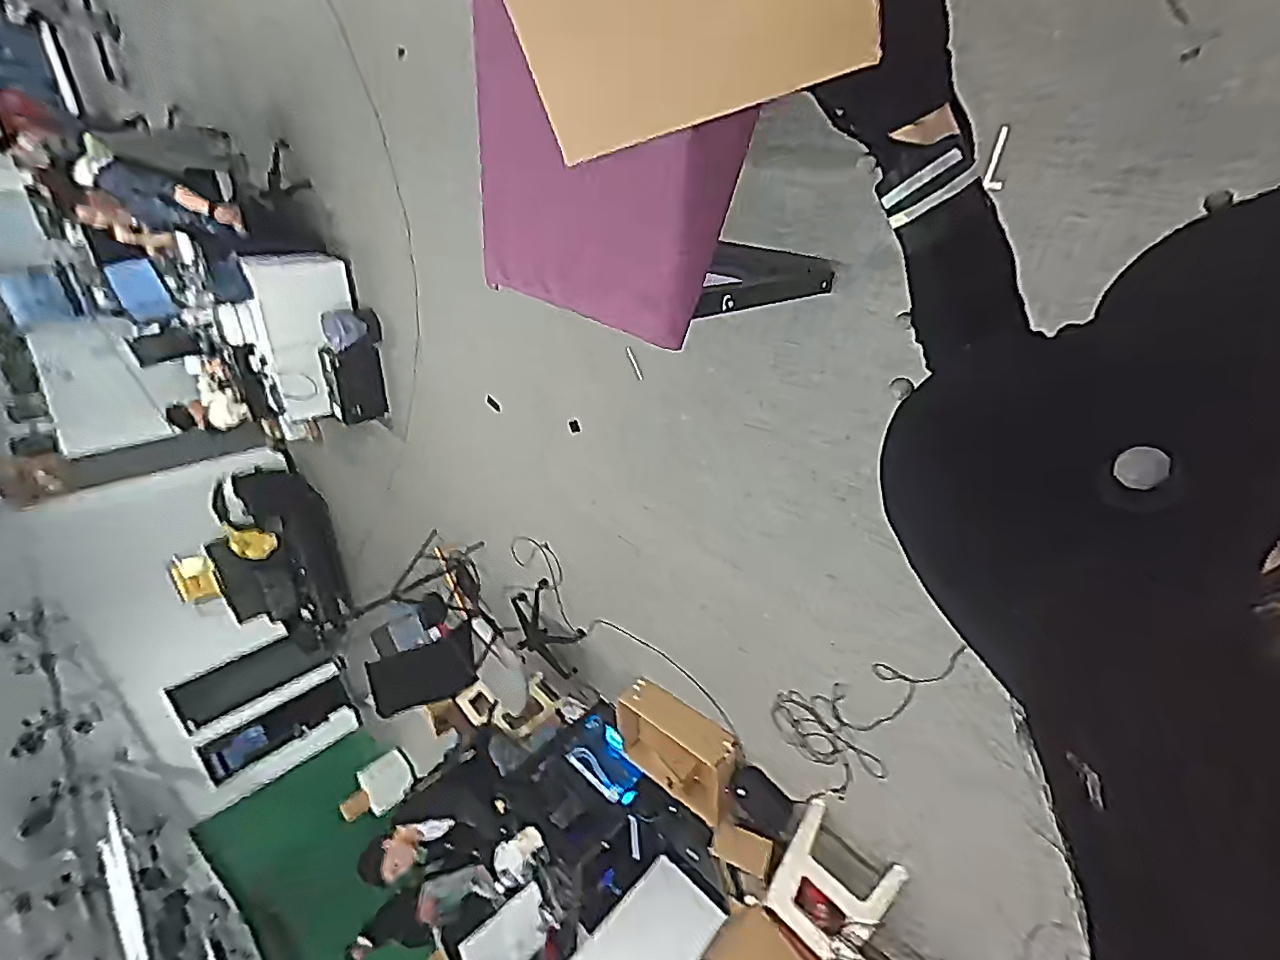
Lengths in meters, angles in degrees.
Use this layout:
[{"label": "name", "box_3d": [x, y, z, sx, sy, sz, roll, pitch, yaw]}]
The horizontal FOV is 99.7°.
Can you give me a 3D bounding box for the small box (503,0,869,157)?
[{"label": "small box", "box_3d": [0.022, -0.308, 0.281, 0.168, 0.179, 0.176, -5, 133, 24]}]
